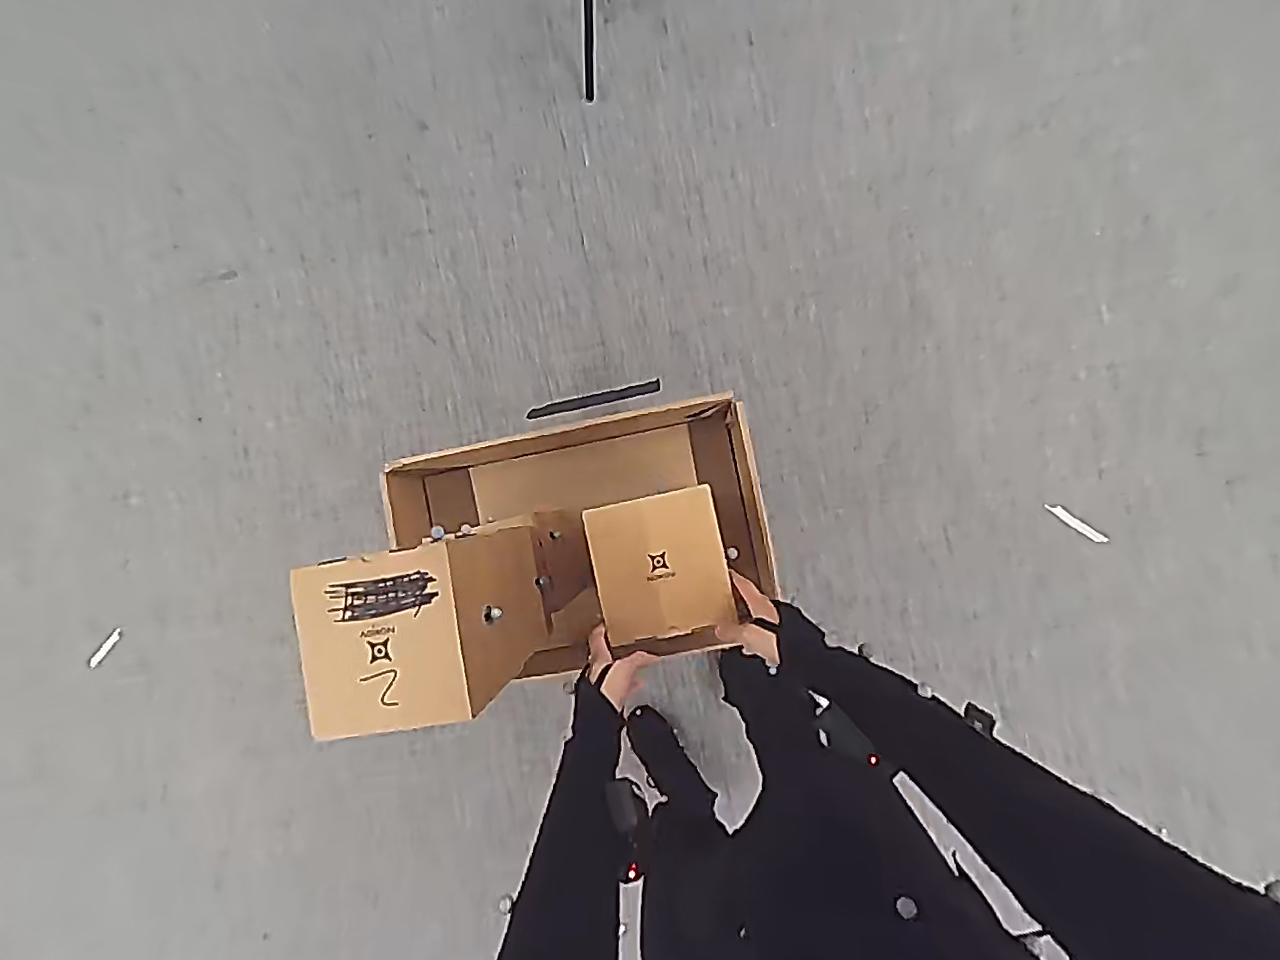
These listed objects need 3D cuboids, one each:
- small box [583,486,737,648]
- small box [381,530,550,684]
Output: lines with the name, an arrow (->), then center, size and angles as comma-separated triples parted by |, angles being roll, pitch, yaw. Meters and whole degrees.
small box -> 0.028, 0.112, 0.750 | 0.168, 0.176, 0.179 | -13, 88, 4
small box -> -0.237, 0.169, 0.769 | 0.168, 0.176, 0.179 | -10, 85, 6
